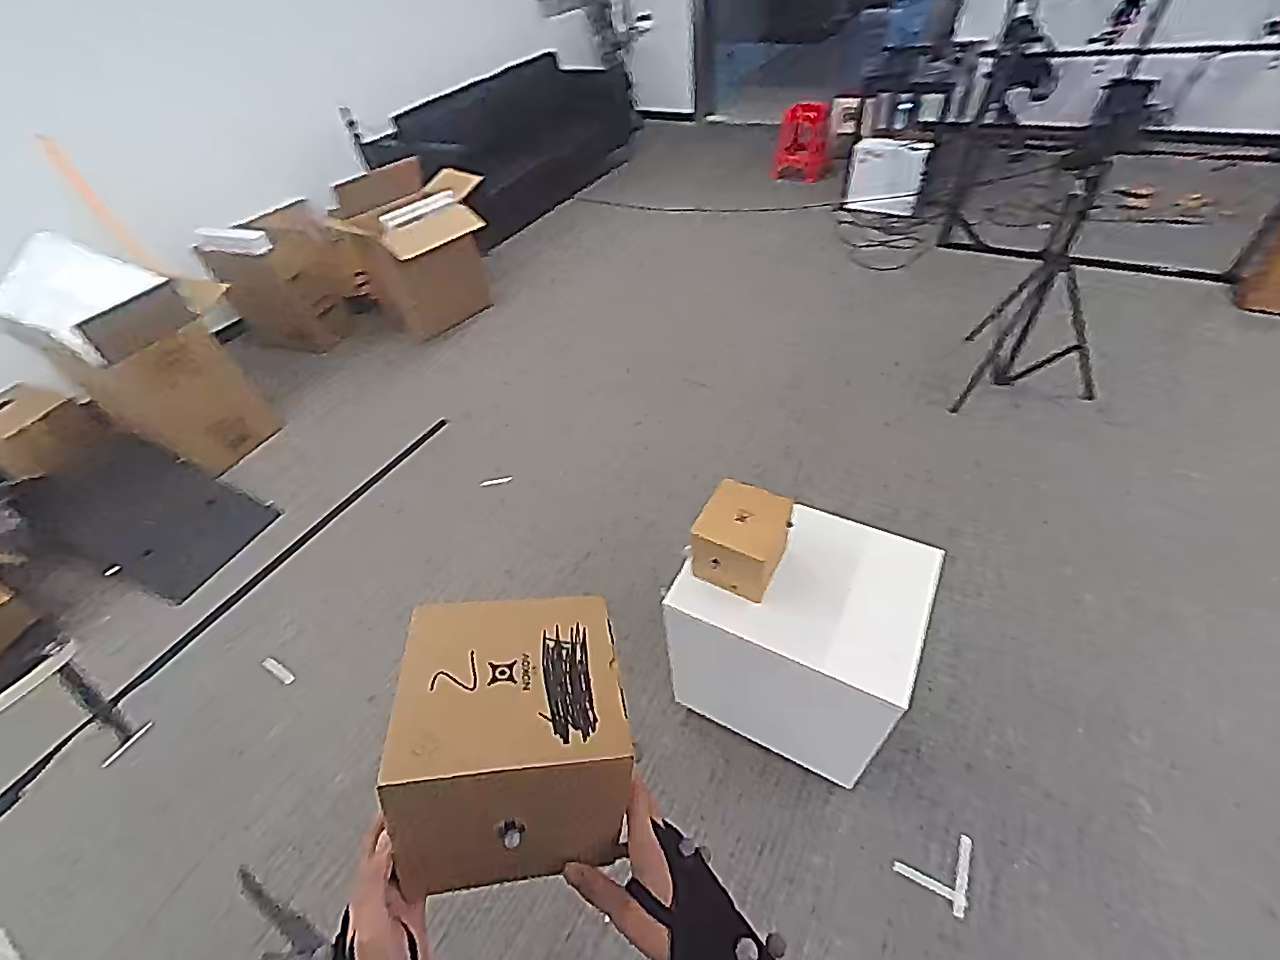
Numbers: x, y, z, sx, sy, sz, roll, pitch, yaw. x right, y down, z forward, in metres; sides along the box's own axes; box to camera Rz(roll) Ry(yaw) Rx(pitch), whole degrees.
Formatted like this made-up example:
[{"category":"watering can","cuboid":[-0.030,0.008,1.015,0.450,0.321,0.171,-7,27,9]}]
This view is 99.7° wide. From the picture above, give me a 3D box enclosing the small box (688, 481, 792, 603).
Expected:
[{"category":"small box","cuboid":[0.218,0.137,1.182,0.168,0.176,0.179,20,52,23]}]
